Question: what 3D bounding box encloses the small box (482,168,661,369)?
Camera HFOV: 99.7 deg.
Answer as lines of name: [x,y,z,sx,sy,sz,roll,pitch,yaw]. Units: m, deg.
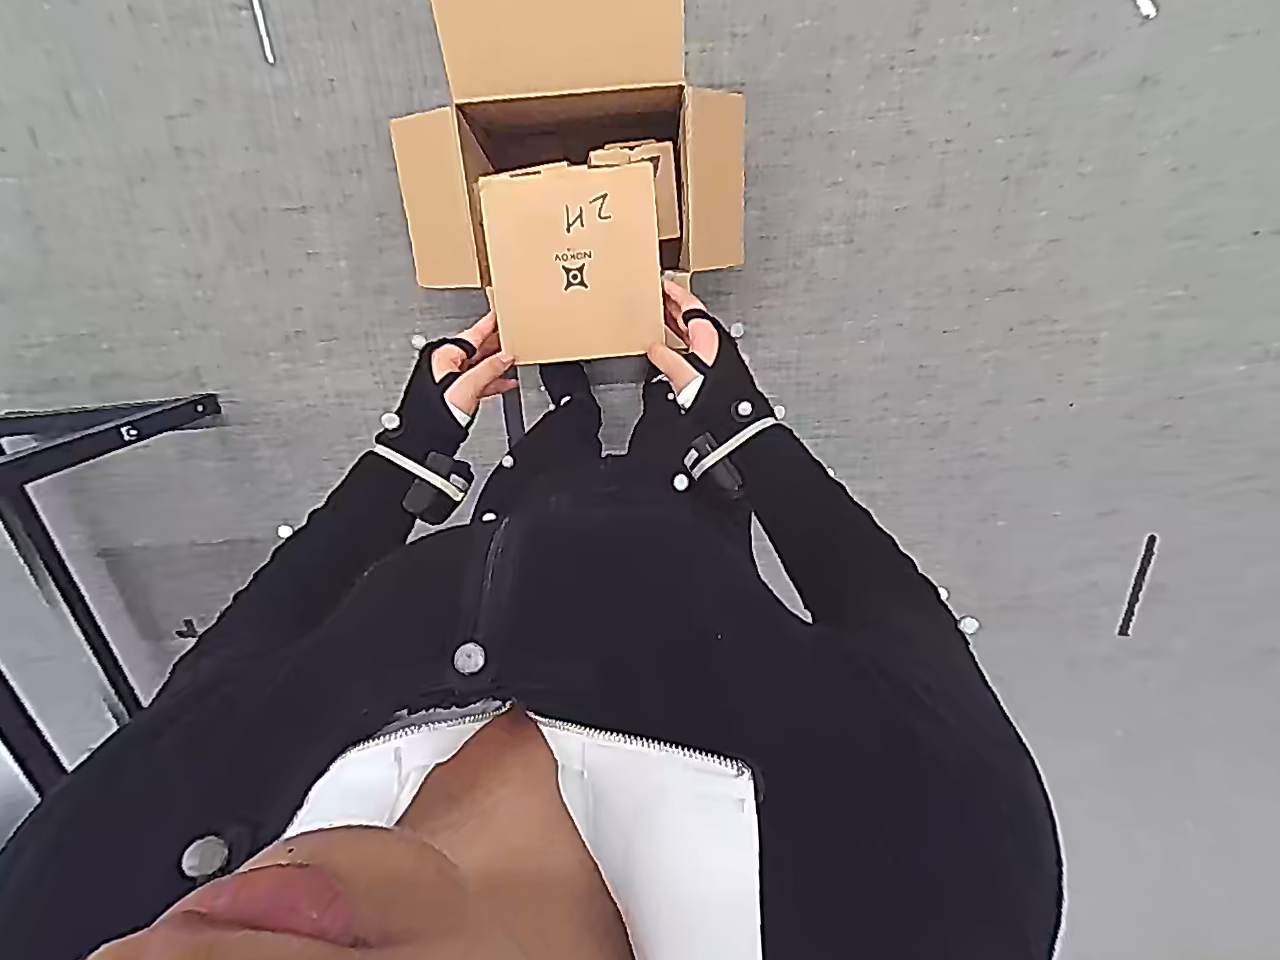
small box: [-0.061,-0.220,0.603,0.168,0.176,0.179,-4,102,1]
